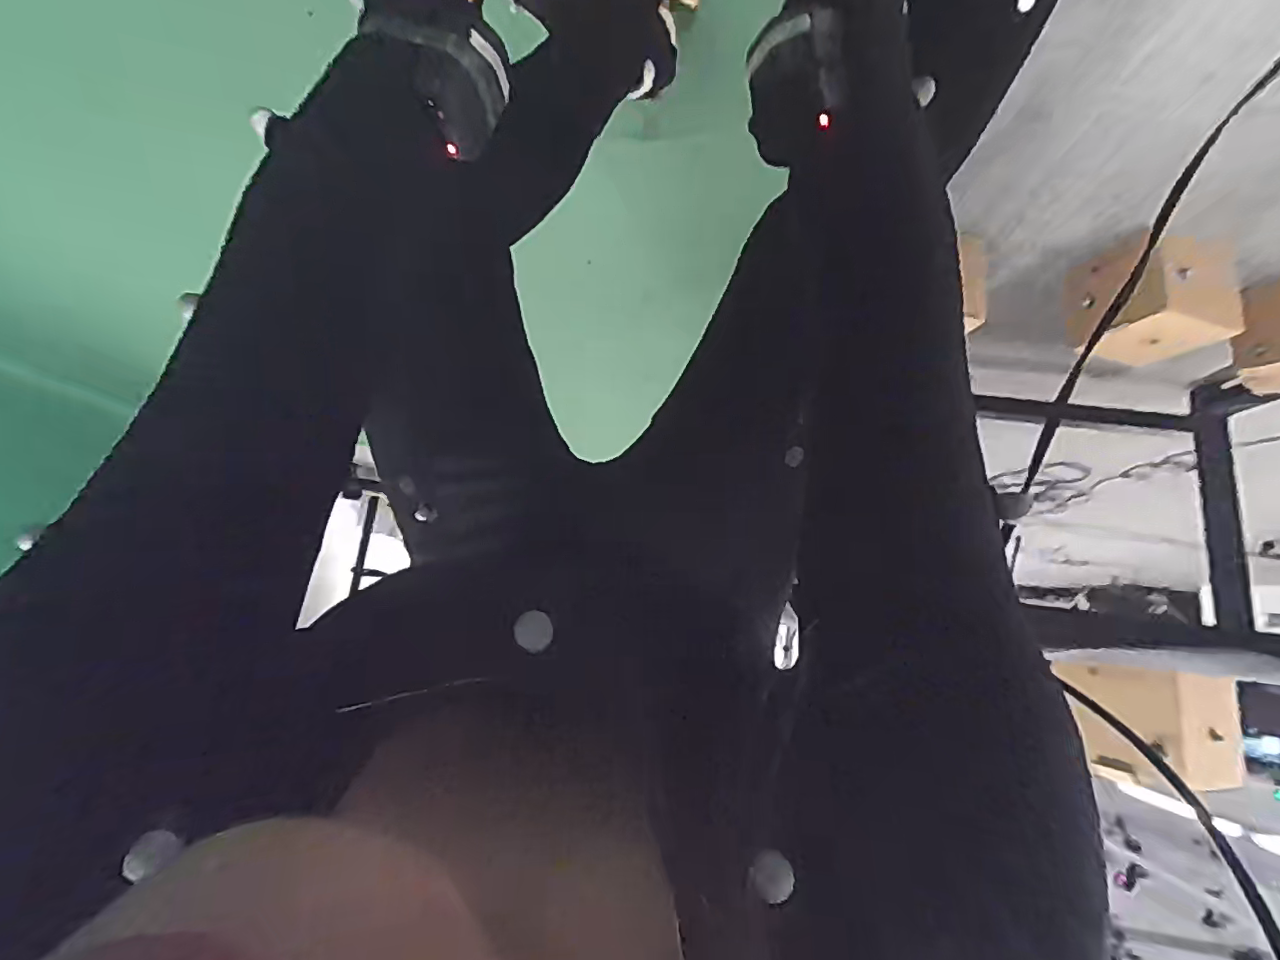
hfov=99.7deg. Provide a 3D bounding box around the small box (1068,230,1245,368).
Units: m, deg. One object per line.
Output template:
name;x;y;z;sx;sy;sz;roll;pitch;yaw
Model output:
small box;0.930;-0.327;0.990;0.179;0.176;0.168;7;168;-11

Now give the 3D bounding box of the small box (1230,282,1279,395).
small box;1.265;-0.283;1.028;0.168;0.176;0.179;14;165;-29
